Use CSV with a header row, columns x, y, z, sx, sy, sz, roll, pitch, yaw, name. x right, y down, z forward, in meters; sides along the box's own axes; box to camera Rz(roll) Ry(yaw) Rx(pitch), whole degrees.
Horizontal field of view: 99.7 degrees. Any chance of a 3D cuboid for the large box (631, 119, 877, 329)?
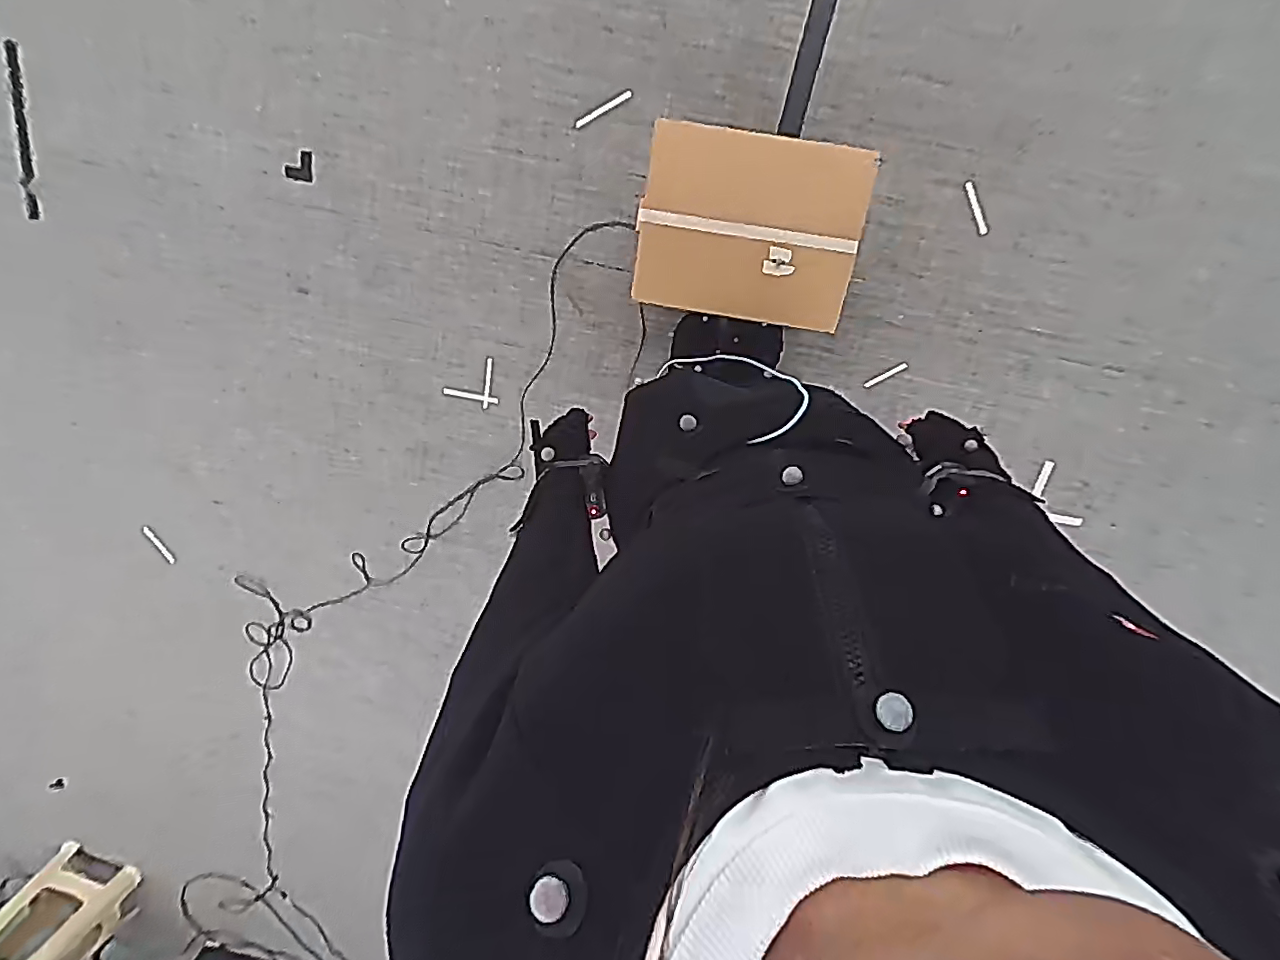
x,y,z,sx,sy,sz,roll,pitch,yaw,name
0.208,-0.515,1.136,0.408,0.320,0.320,10,112,1,large box
